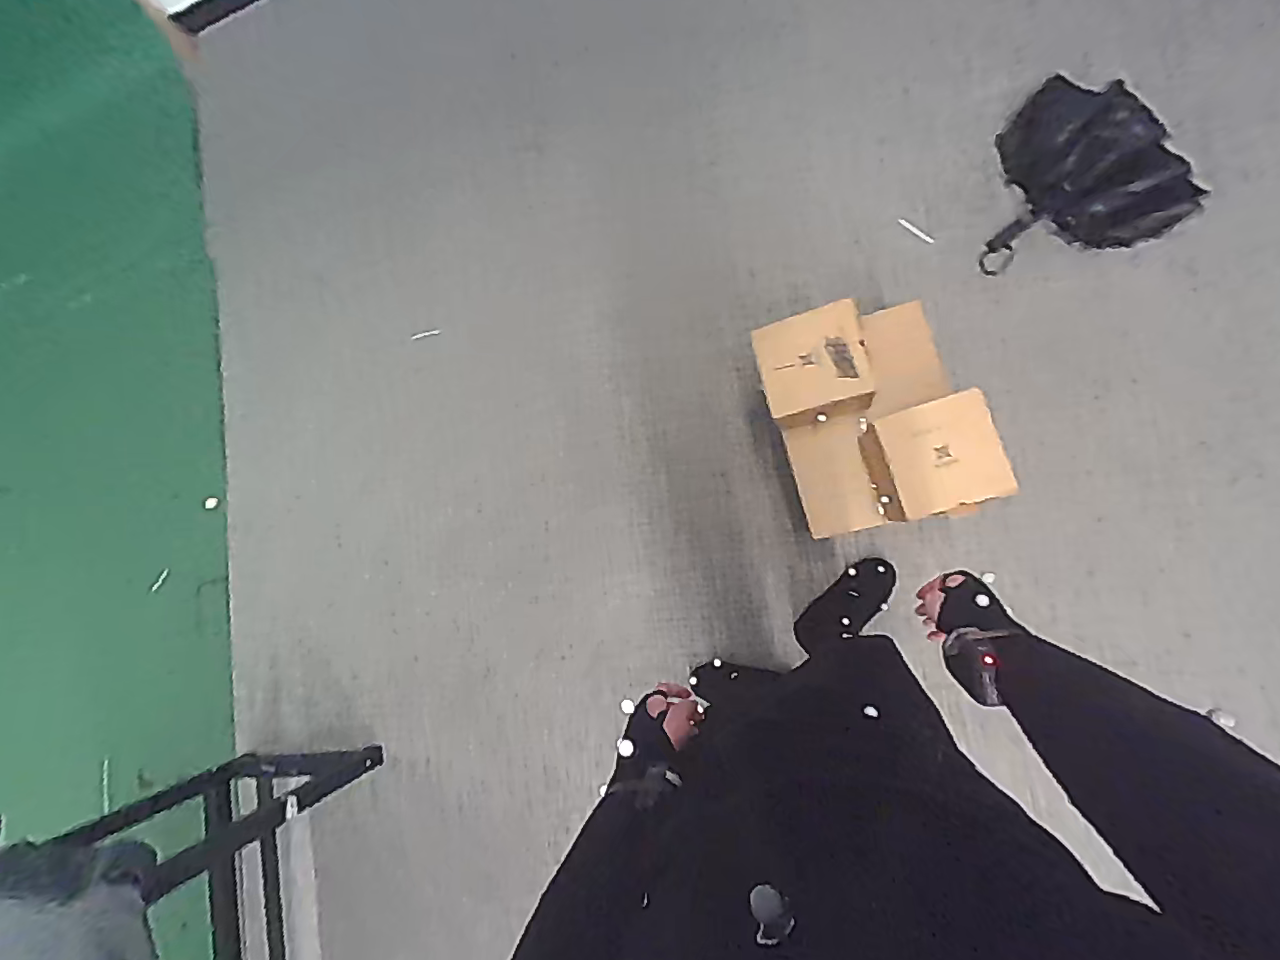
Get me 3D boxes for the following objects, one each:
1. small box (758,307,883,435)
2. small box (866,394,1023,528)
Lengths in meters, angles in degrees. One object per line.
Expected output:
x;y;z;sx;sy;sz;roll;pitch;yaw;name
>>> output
0.330;-0.190;0.995;0.179;0.176;0.168;-15;82;19;small box
0.506;-0.023;0.928;0.168;0.176;0.179;-18;80;12;small box
